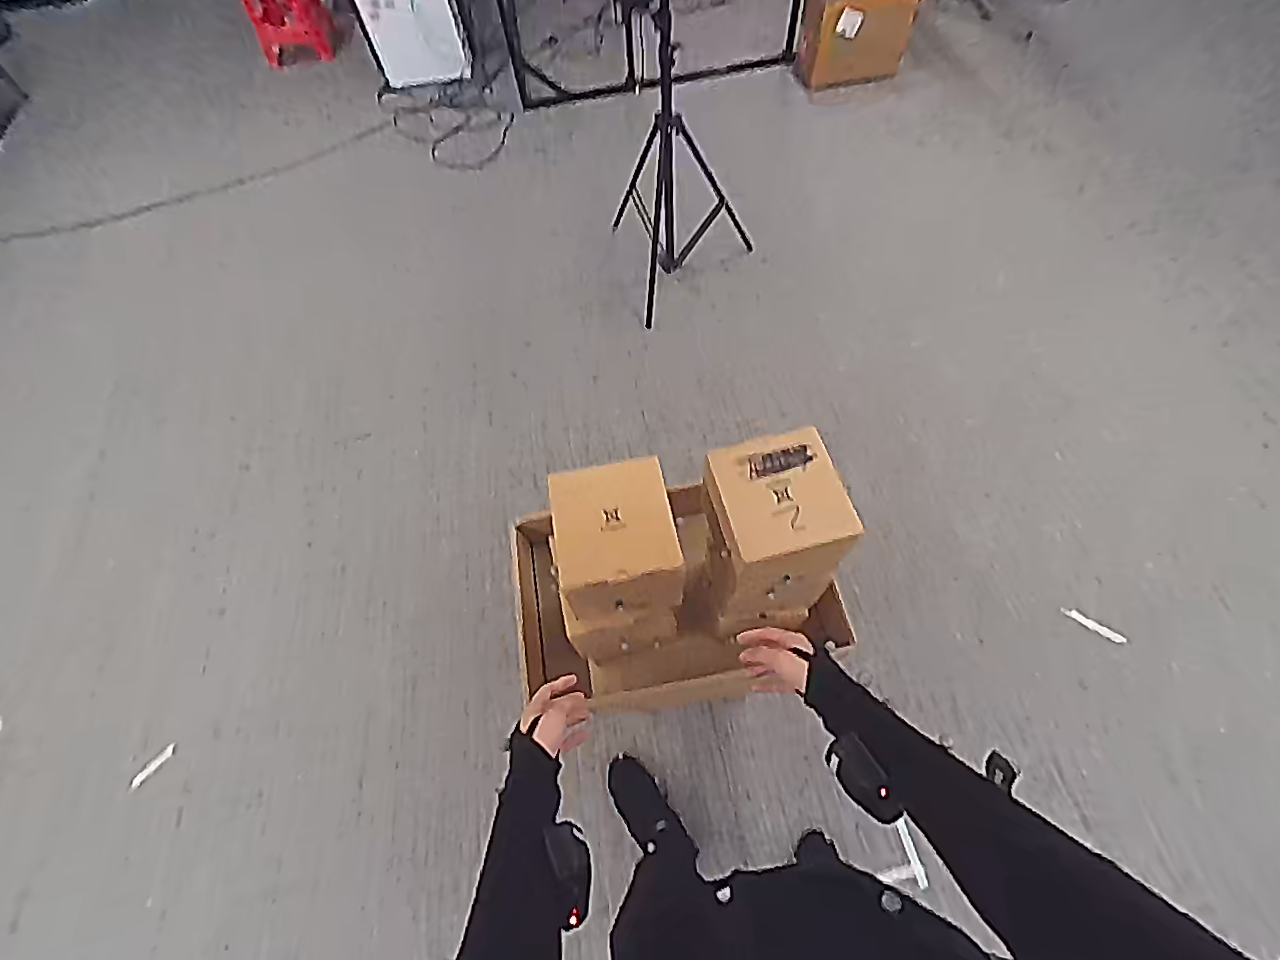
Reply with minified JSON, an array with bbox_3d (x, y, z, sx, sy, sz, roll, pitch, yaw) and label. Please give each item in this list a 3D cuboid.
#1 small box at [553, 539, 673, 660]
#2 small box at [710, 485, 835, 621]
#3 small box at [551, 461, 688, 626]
[{"bbox_3d":[-0.046,0.195,0.943,0.168,0.176,0.179,-14,62,-5],"label":"small box"},{"bbox_3d":[0.219,0.132,0.951,0.168,0.176,0.179,-8,61,0],"label":"small box"},{"bbox_3d":[-0.031,0.099,0.809,0.168,0.176,0.179,-12,62,-4],"label":"small box"}]
